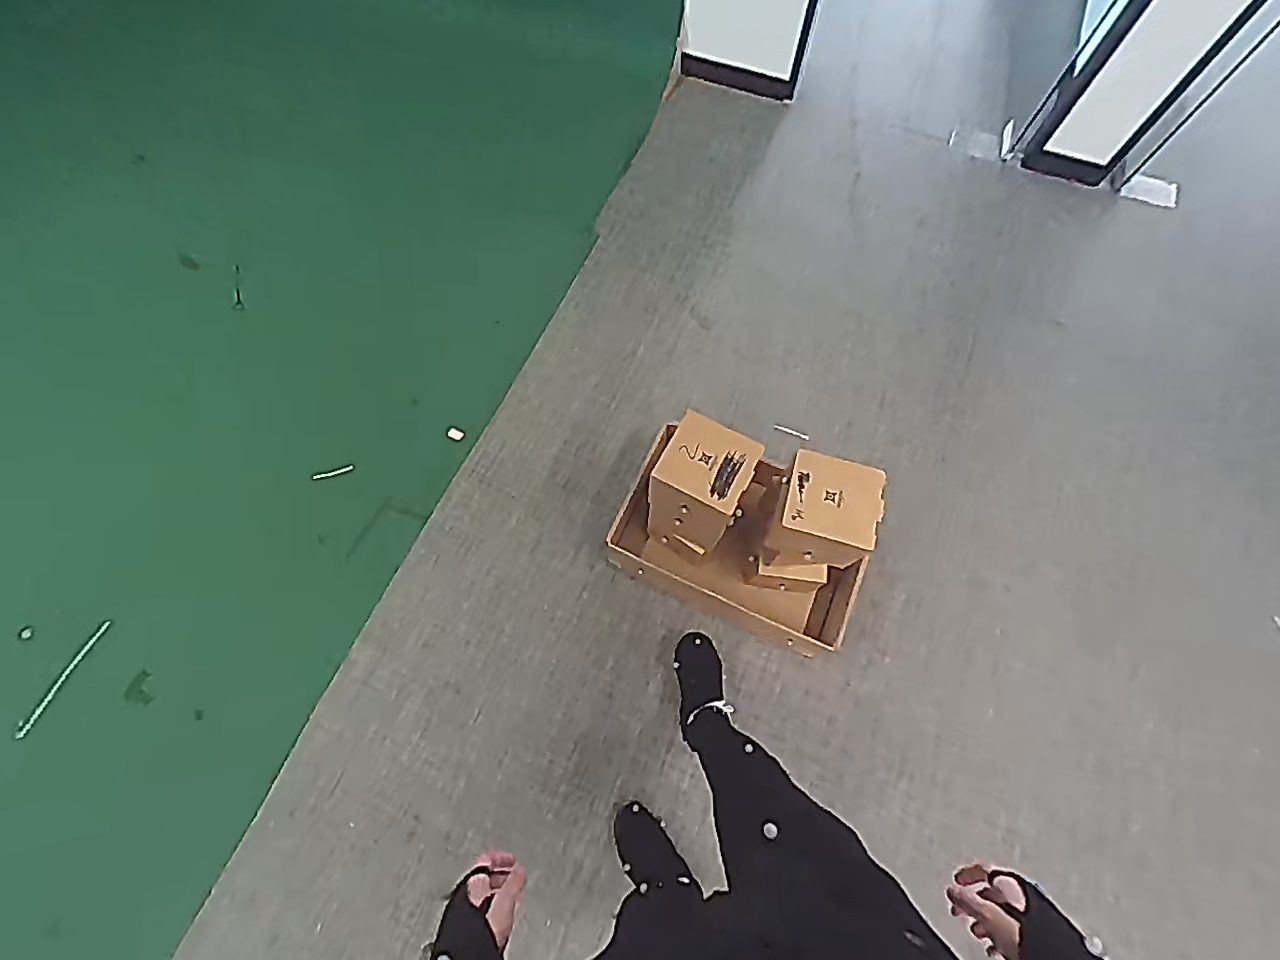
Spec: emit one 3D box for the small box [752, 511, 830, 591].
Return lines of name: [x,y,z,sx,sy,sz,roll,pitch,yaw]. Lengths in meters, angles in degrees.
small box: [0.388,0.182,1.398,0.168,0.176,0.179,7,69,4]

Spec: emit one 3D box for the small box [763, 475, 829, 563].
small box: [0.391,0.095,1.257,0.168,0.176,0.179,-2,69,0]

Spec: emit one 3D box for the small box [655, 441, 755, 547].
small box: [0.145,0.041,1.279,0.179,0.176,0.168,27,71,9]

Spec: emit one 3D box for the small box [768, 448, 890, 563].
small box: [0.376,0.060,1.096,0.179,0.176,0.168,16,71,6]
